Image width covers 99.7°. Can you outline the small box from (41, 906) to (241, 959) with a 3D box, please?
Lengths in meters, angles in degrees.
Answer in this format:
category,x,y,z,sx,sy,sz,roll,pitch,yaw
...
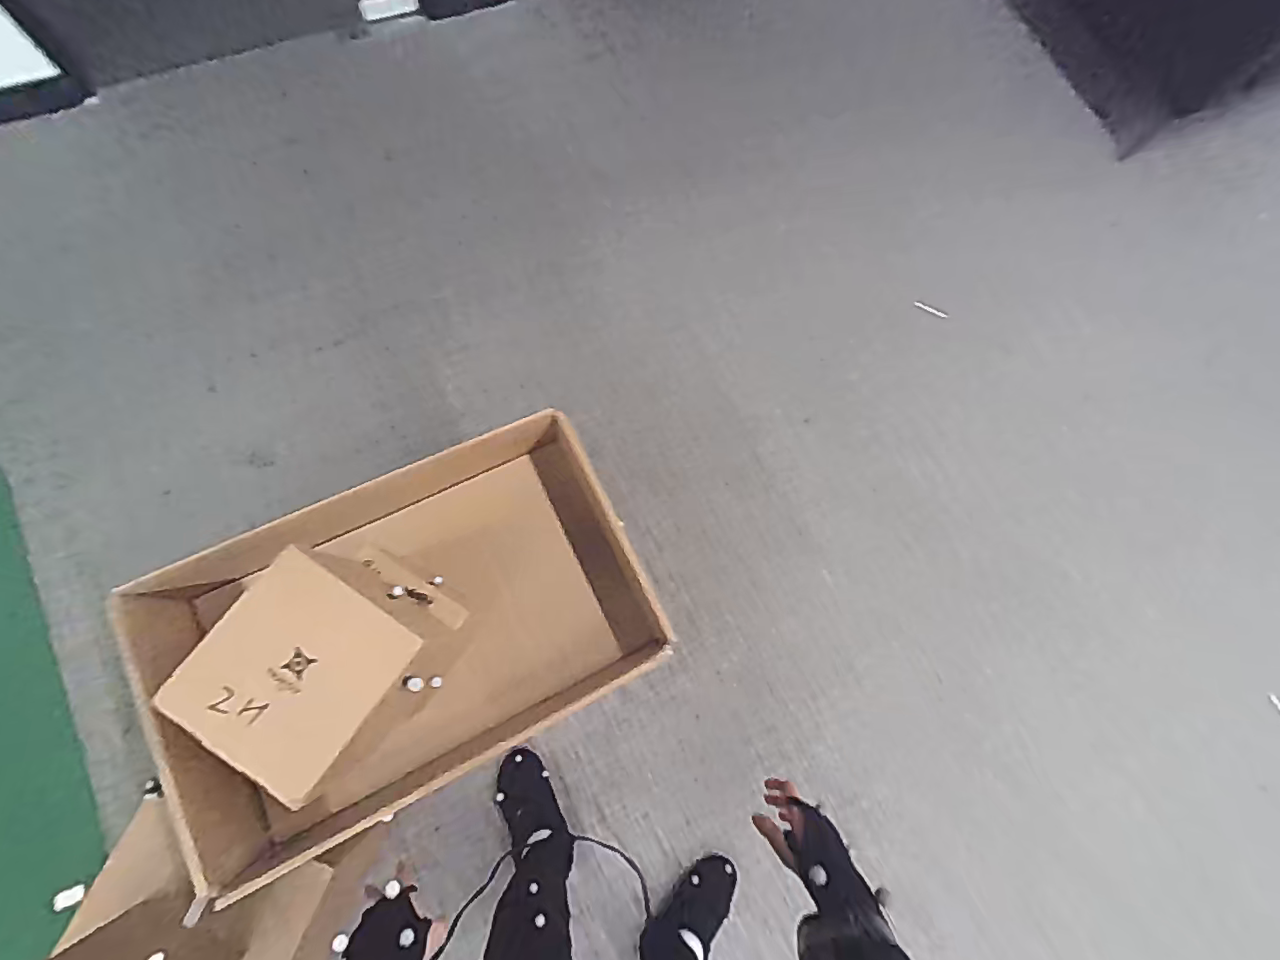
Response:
category,x,y,z,sx,sy,sz,roll,pitch,yaw
small box,-0.670,0.689,0.681,0.179,0.176,0.168,27,74,1

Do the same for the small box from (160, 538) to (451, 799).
category,x,y,z,sx,sy,sz,roll,pitch,yaw
small box,-0.326,0.187,0.577,0.168,0.176,0.179,35,75,4

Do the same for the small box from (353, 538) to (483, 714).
category,x,y,z,sx,sy,sz,roll,pitch,yaw
small box,-0.337,0.204,0.742,0.168,0.176,0.179,34,75,1
